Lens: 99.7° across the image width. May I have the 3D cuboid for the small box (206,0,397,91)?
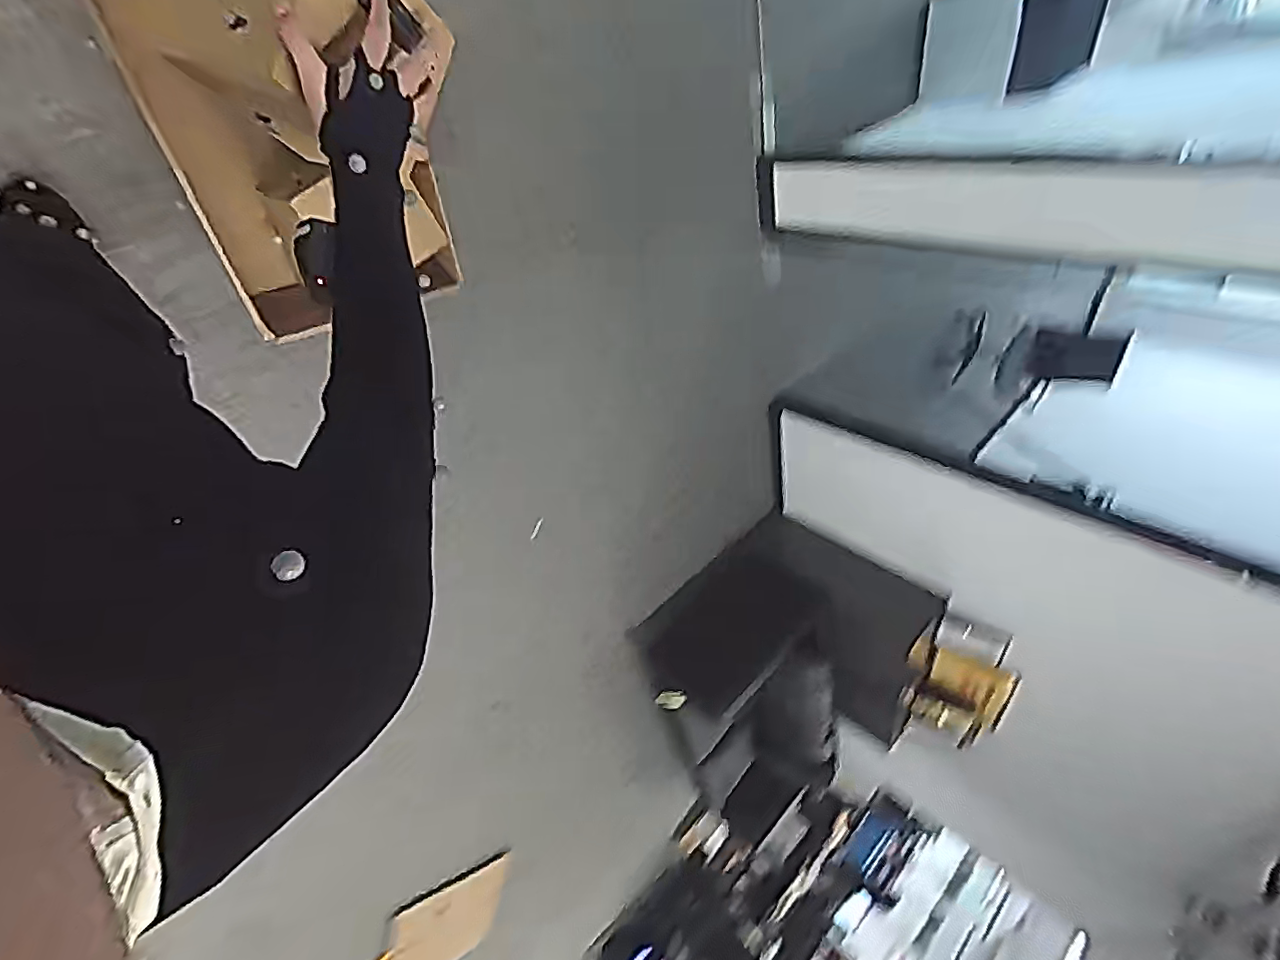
[{"bbox_3d":[-0.477,-0.651,0.746,0.179,0.176,0.168,-33,133,-28],"label":"small box"}]

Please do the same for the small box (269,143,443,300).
[{"bbox_3d":[-0.469,-0.424,0.887,0.179,0.176,0.168,-45,138,-18],"label":"small box"}]
